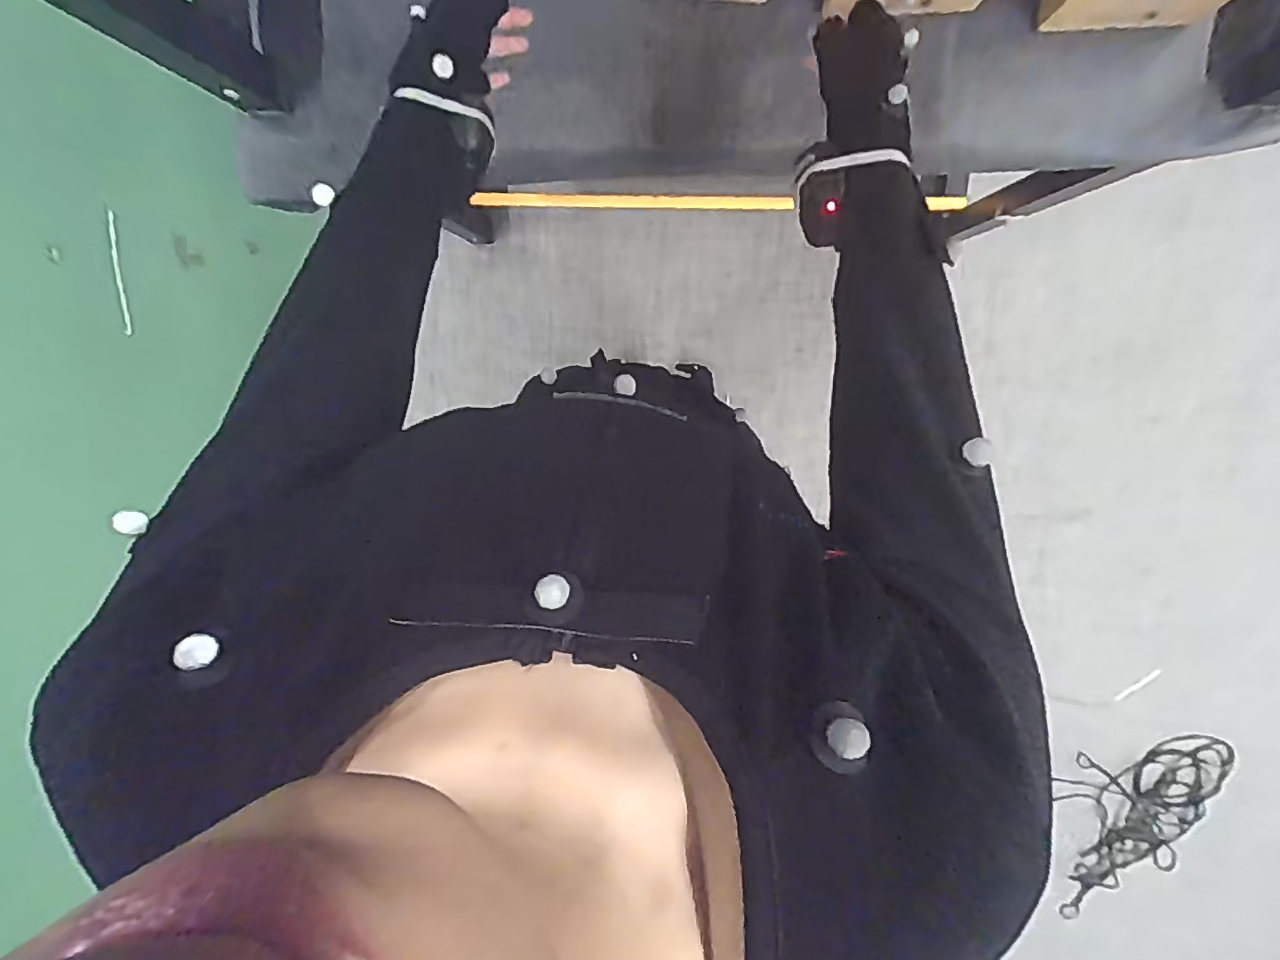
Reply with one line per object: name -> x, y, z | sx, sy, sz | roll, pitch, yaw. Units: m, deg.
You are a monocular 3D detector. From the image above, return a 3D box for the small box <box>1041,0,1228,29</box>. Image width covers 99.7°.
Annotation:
small box -> 0.514, -0.556, 0.499 | 0.168, 0.176, 0.179 | 1, 102, 3
